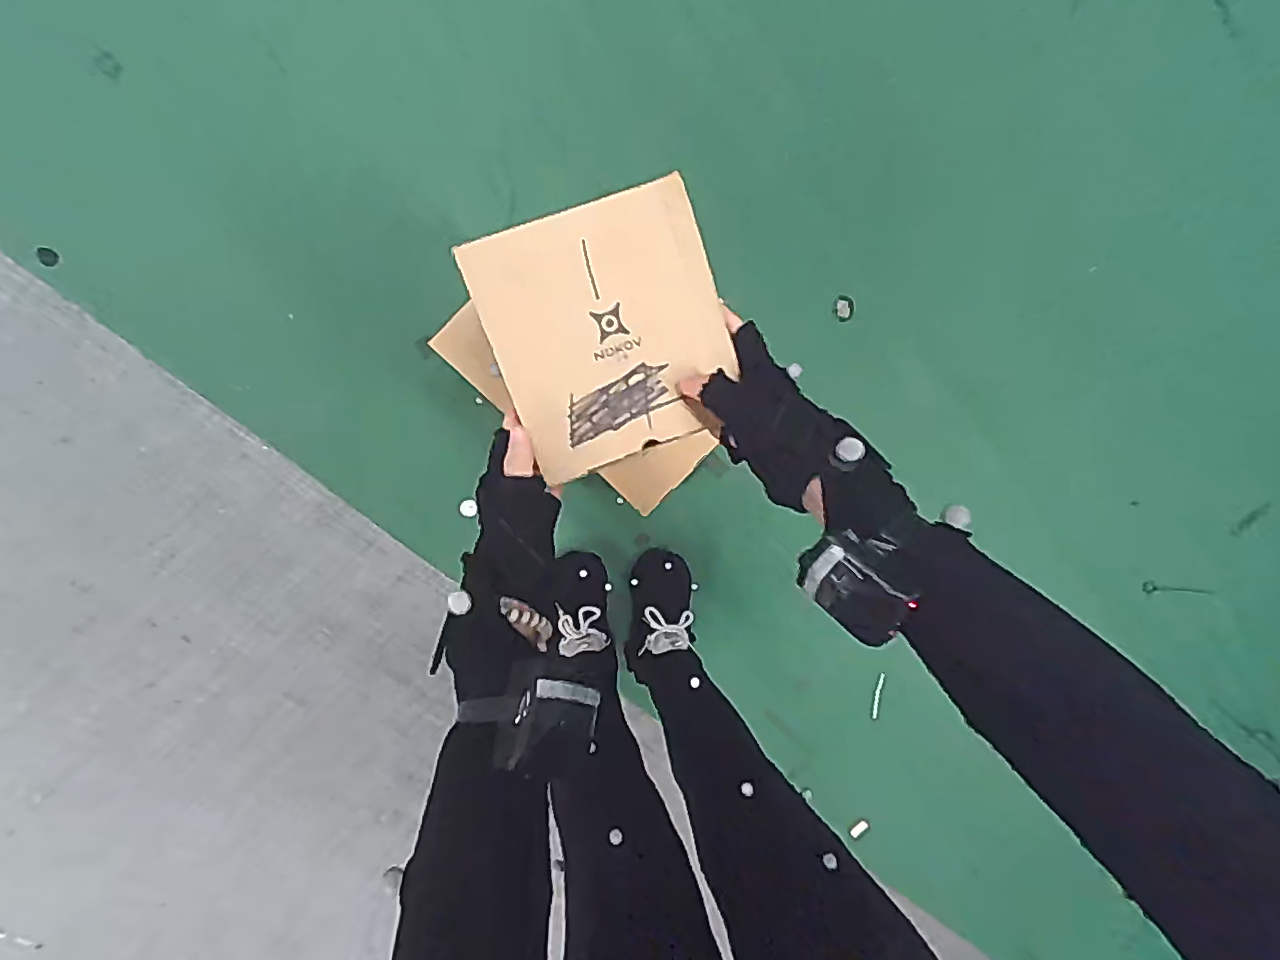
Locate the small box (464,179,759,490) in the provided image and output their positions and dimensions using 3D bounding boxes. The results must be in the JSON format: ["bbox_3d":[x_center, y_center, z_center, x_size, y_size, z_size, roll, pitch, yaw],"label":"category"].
[{"bbox_3d":[-0.024,-0.114,0.455,0.168,0.176,0.179,-21,103,-4],"label":"small box"}]

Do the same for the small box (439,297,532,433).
[{"bbox_3d":[-0.111,-0.161,0.658,0.168,0.176,0.179,-45,108,2],"label":"small box"}]
